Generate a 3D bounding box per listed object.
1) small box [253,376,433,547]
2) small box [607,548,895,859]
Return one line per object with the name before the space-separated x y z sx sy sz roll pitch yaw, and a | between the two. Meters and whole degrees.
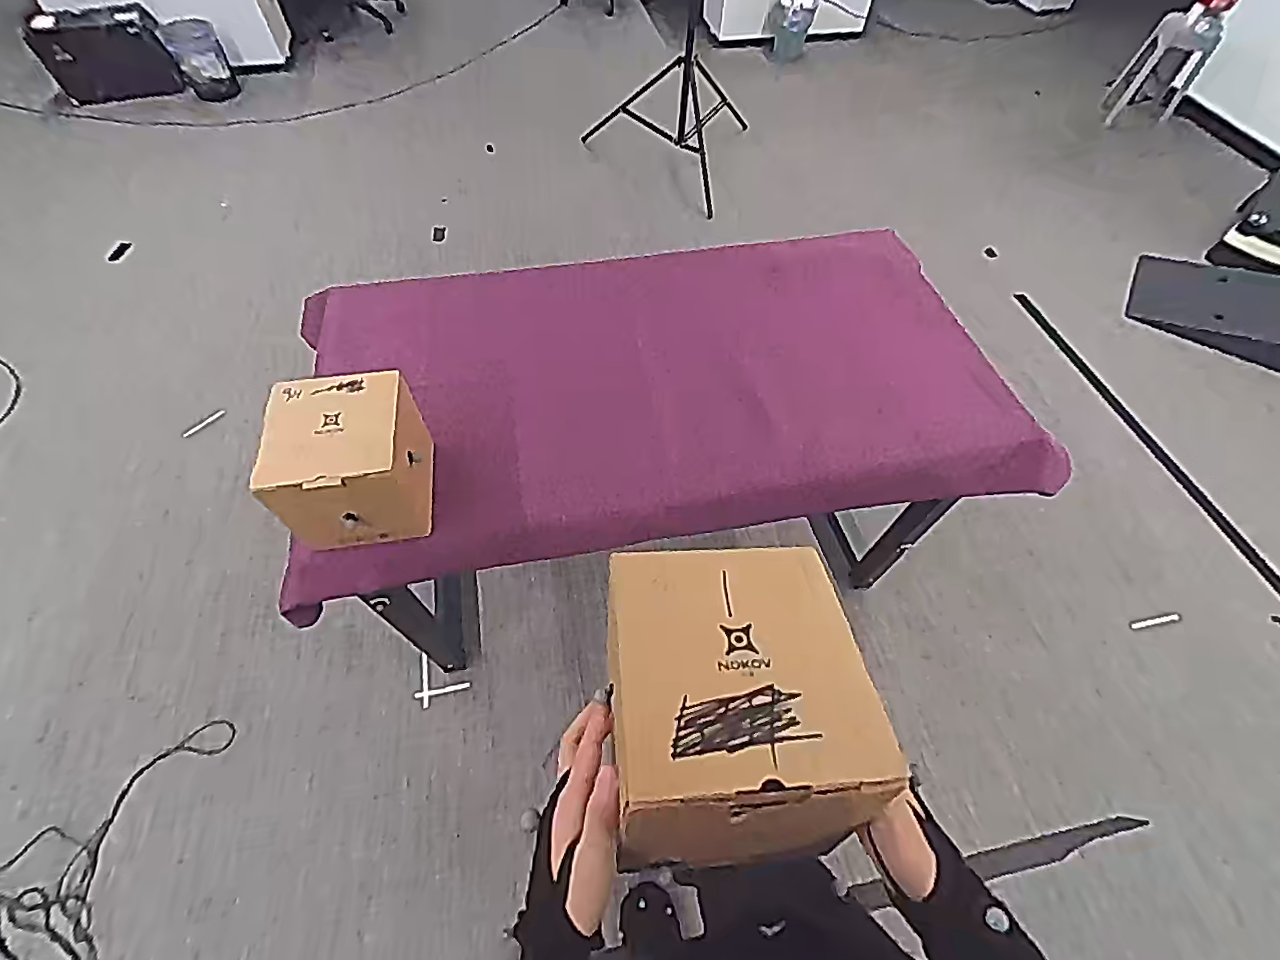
small box | -0.399 -0.018 0.762 0.168 0.176 0.179 -8 58 -8
small box | 0.060 0.174 0.422 0.168 0.176 0.179 -1 43 -6
